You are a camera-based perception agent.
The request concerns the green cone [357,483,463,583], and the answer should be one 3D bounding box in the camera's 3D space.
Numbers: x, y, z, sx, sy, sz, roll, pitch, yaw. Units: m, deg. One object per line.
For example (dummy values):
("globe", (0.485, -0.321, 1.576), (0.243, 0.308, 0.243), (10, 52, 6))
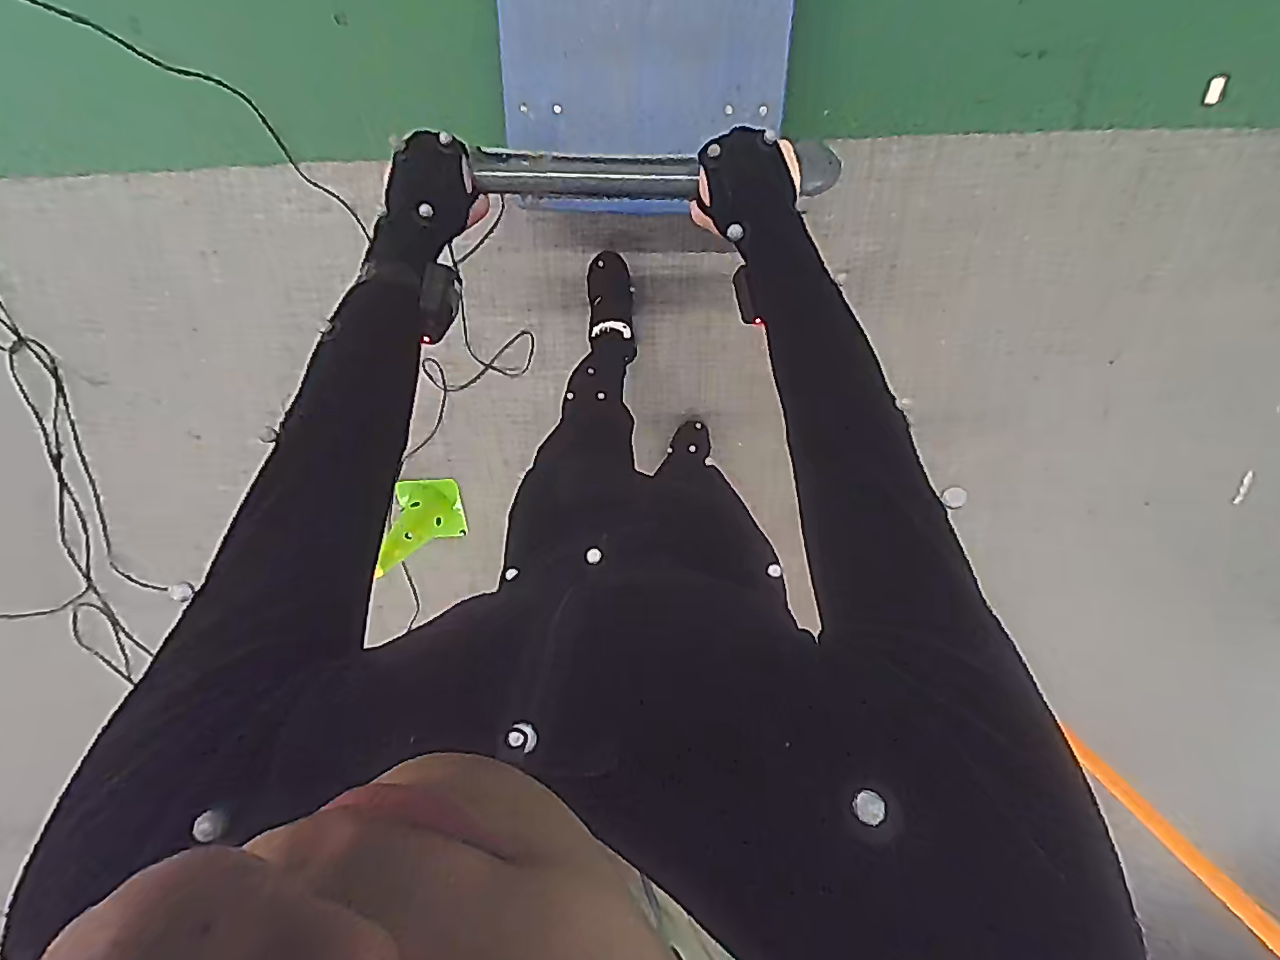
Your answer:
("green cone", (-0.675, 0.171, 1.523), (0.202, 0.368, 0.200), (-3, 113, 6))
